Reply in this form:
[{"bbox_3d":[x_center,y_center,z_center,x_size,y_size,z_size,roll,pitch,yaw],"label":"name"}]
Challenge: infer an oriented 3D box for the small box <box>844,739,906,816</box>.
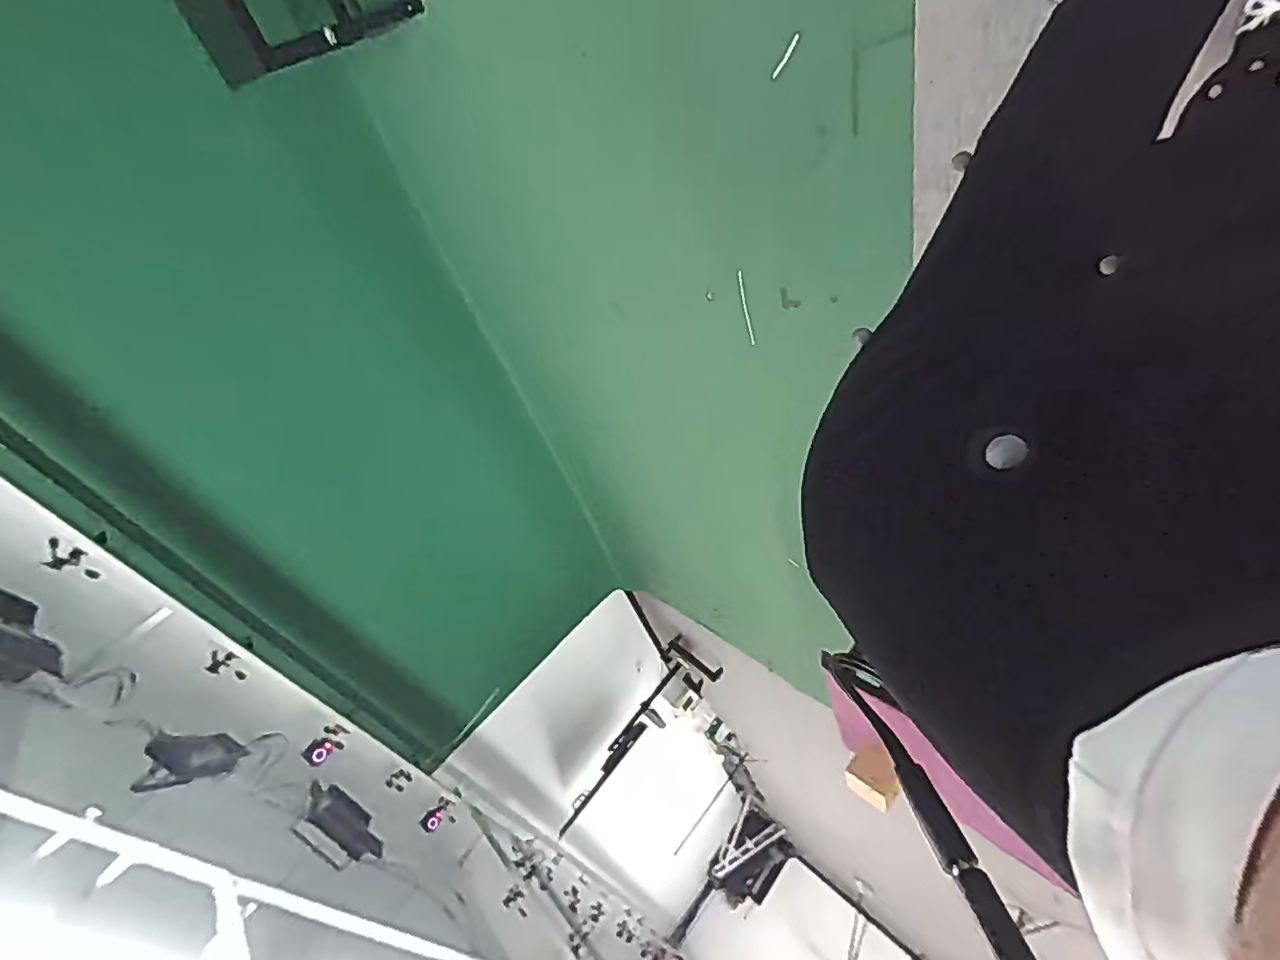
[{"bbox_3d":[0.921,1.158,2.110,0.168,0.176,0.179,22,146,42],"label":"small box"}]
